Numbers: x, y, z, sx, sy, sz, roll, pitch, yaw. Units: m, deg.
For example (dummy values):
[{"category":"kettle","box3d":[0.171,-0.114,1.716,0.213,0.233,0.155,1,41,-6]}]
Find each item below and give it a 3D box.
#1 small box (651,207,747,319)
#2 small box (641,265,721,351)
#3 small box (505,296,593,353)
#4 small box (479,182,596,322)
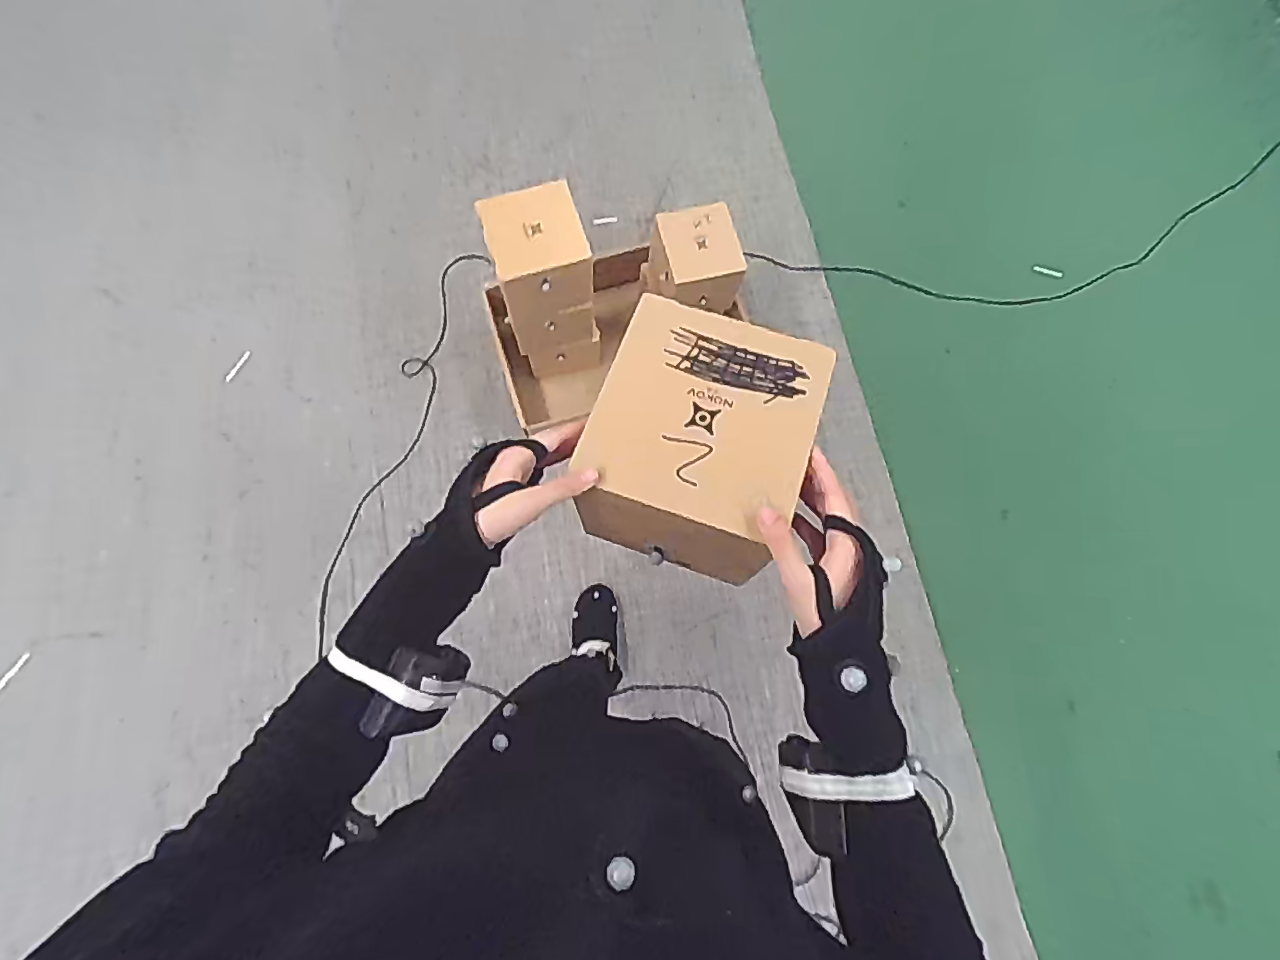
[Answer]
[{"category":"small box","box3d":[0.130,-0.492,1.254,0.168,0.176,0.179,-13,78,-8]},{"category":"small box","box3d":[0.103,-0.455,1.413,0.179,0.176,0.168,-13,79,-6]},{"category":"small box","box3d":[-0.206,-0.403,1.212,0.179,0.176,0.168,-12,80,-8]},{"category":"small box","box3d":[-0.193,-0.436,1.054,0.179,0.176,0.168,-18,81,-7]}]
